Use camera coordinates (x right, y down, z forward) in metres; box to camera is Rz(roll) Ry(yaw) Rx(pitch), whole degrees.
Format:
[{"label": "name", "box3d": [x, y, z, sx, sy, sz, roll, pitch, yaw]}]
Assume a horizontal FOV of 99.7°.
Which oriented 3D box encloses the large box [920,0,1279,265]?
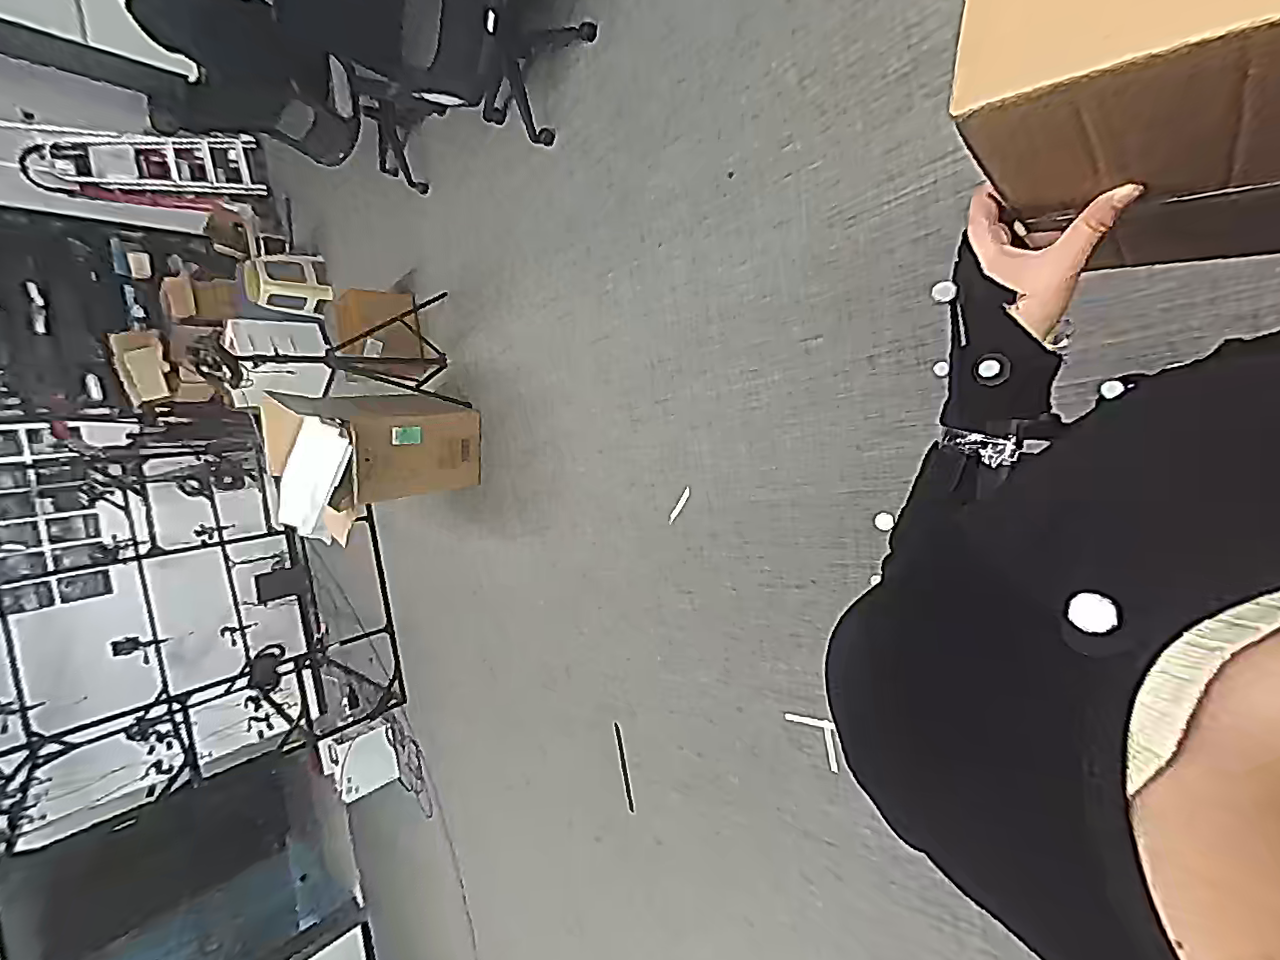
[{"label": "large box", "box3d": [0.396, -0.312, 0.222, 0.408, 0.320, 0.320, 11, 101, 46]}]
